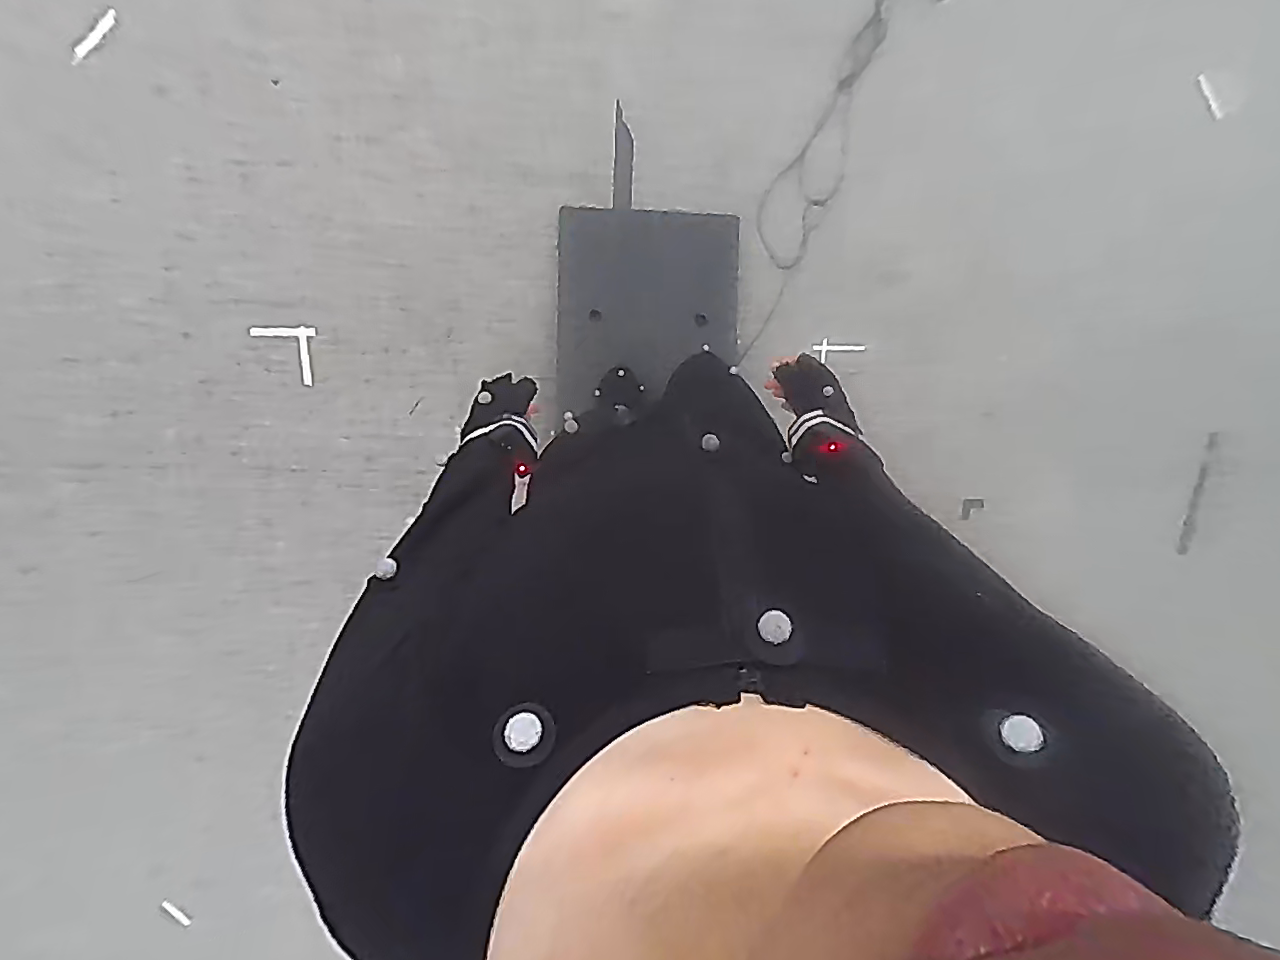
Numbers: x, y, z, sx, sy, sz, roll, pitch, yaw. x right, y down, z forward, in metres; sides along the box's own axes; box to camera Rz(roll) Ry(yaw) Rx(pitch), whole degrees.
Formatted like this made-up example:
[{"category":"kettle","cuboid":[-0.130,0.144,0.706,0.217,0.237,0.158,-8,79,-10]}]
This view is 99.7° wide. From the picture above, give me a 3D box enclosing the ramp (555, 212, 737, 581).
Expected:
[{"category":"ramp","cuboid":[0.015,-0.223,1.477,0.509,0.206,0.991,0,101,-2]}]
